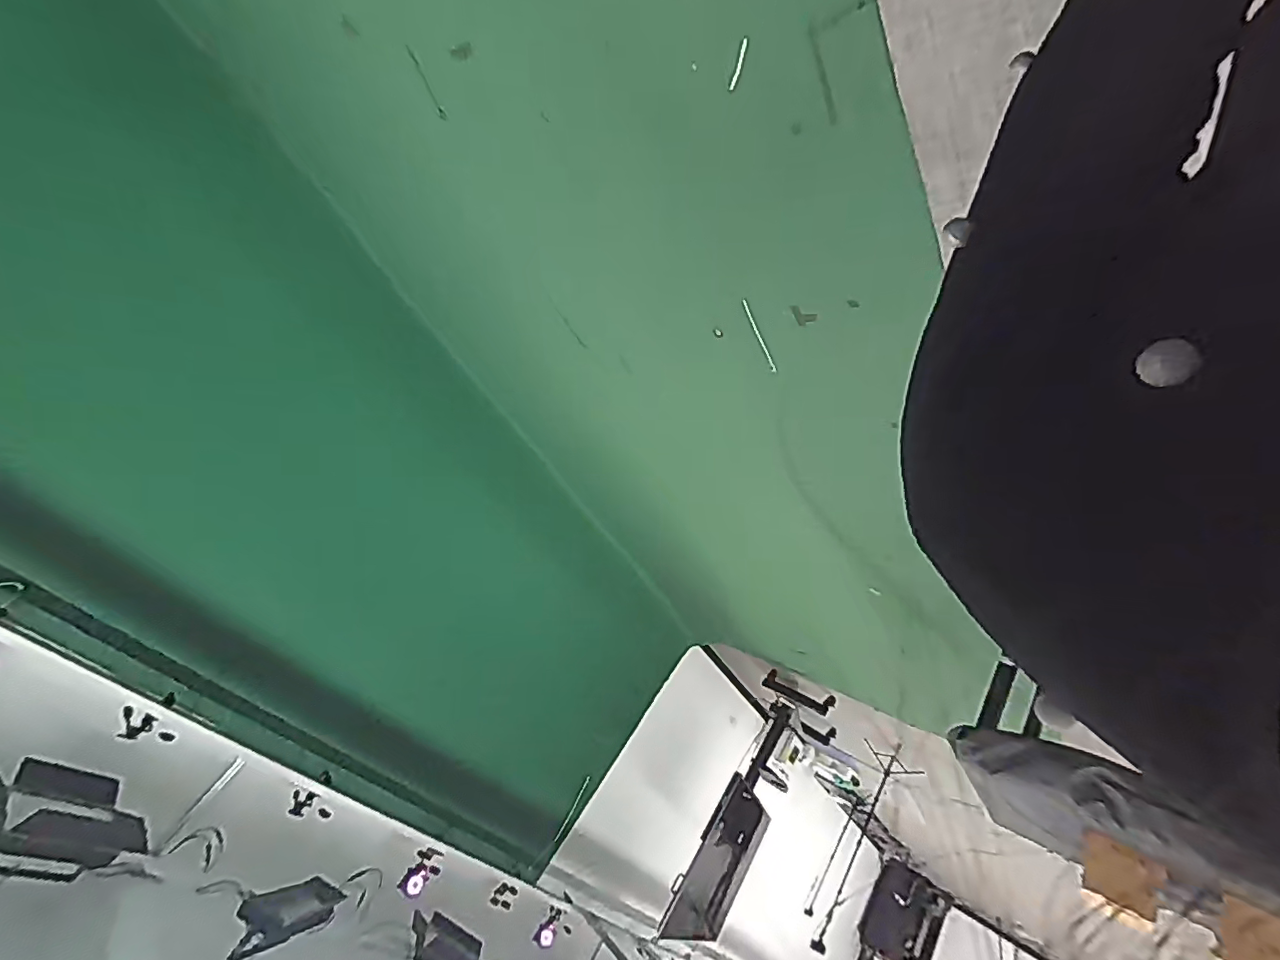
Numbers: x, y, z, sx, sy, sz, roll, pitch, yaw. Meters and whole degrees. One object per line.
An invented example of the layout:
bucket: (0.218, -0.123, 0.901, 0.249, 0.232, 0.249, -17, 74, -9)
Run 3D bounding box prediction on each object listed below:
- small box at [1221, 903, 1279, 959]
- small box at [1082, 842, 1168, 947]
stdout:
small box: (1.613, 1.235, 1.375, 0.179, 0.176, 0.168, 5, 140, 50)
small box: (1.428, 1.211, 1.592, 0.168, 0.176, 0.179, 8, 143, 49)
